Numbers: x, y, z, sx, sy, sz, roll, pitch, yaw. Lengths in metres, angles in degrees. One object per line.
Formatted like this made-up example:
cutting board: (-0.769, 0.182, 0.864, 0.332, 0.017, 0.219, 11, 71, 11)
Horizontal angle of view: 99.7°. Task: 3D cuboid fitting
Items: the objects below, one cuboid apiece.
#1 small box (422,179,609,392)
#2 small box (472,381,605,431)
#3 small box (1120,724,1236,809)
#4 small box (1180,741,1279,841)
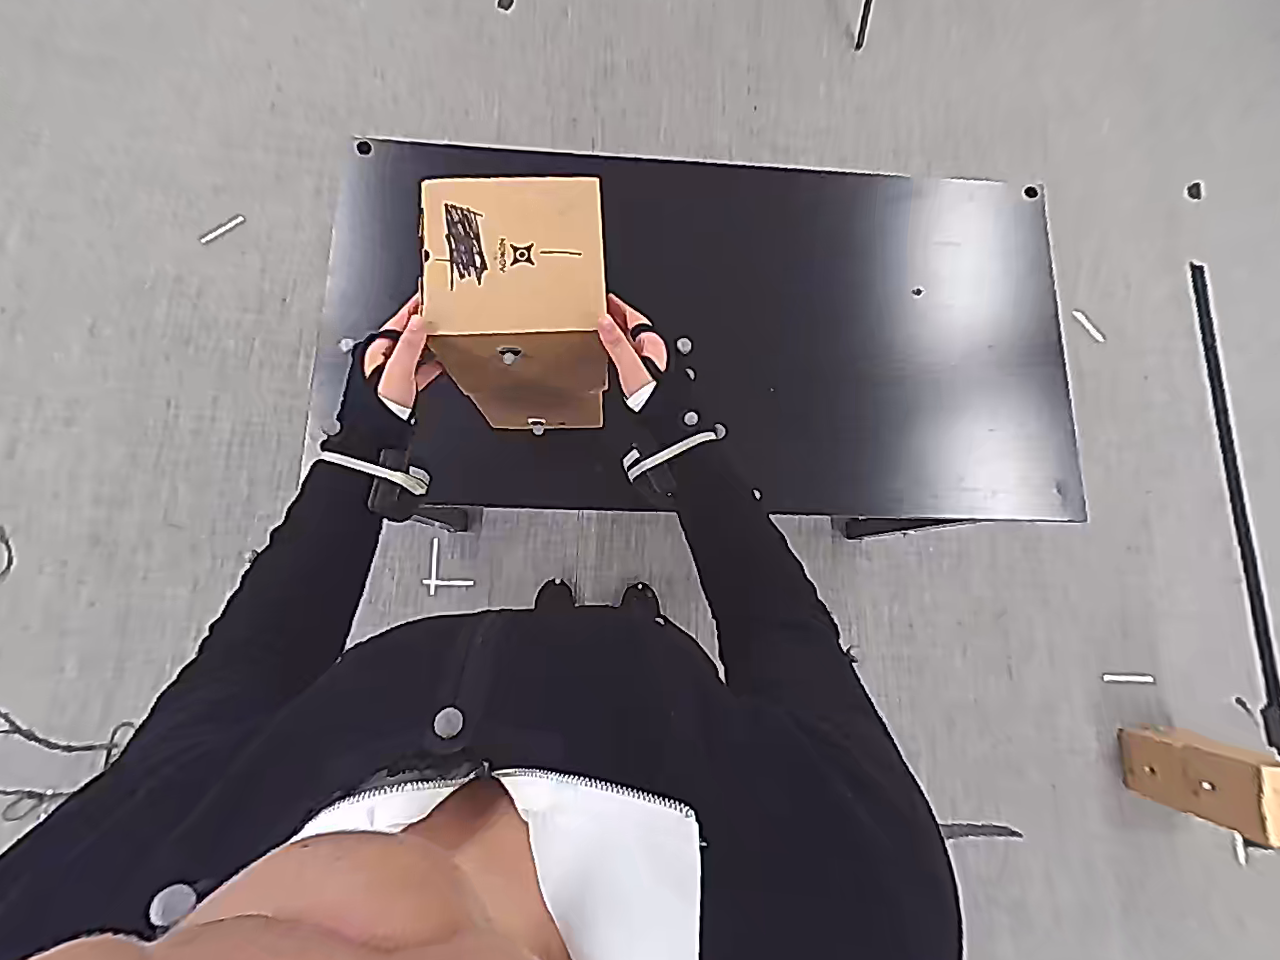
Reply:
small box: (-0.126, -0.202, 0.601, 0.179, 0.176, 0.168, -3, 80, -5)
small box: (-0.135, -0.177, 0.763, 0.168, 0.176, 0.179, -3, 81, -4)
small box: (1.441, 0.763, 1.451, 0.179, 0.176, 0.168, 1, 80, -3)
small box: (1.456, 0.736, 1.288, 0.179, 0.176, 0.168, 7, 79, -3)
